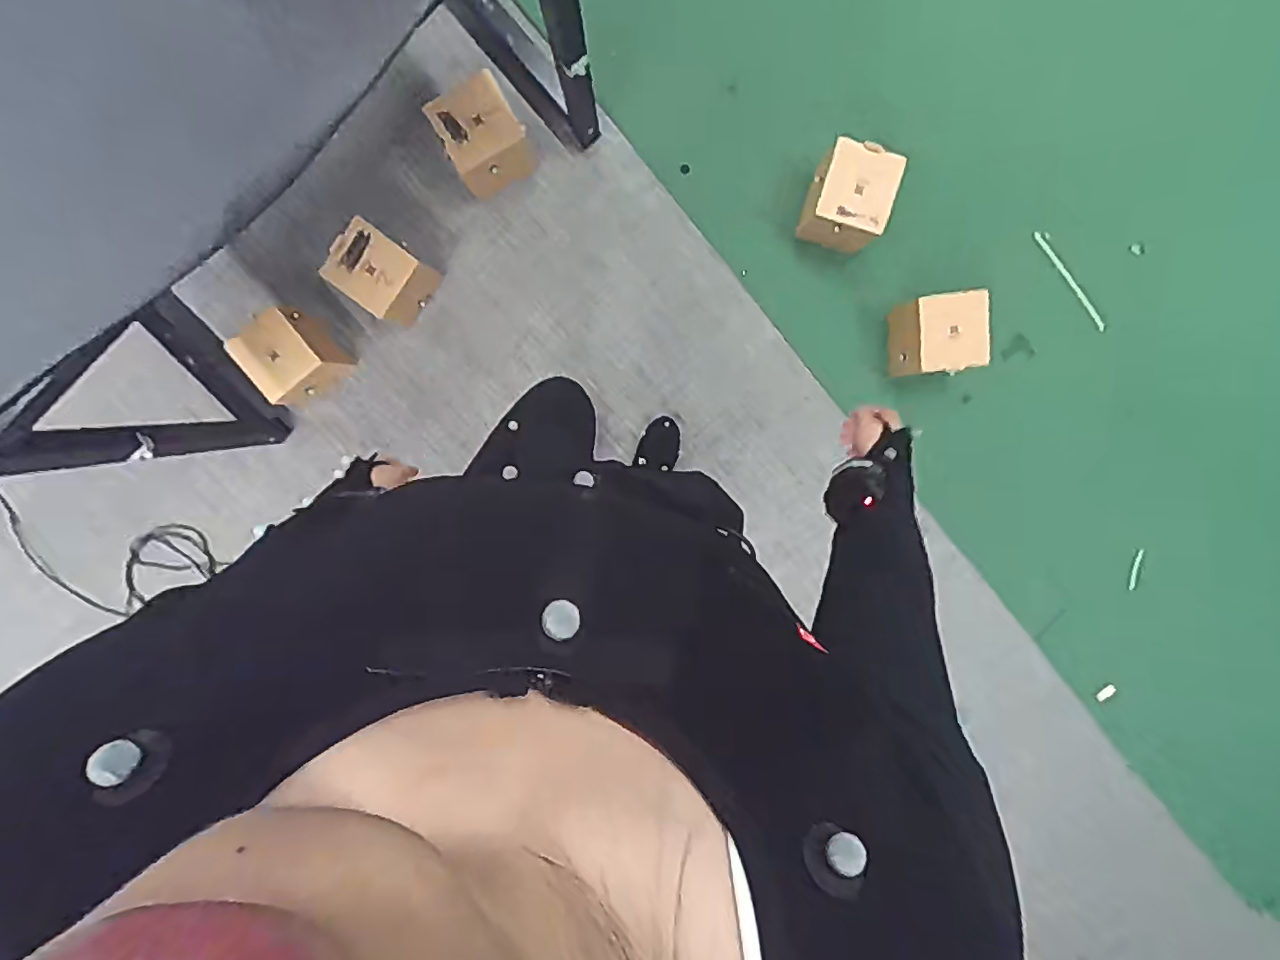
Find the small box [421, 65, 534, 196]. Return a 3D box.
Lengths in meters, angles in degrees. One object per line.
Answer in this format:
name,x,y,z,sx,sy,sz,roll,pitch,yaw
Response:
small box,-0.371,-0.807,1.270,0.179,0.176,0.168,-28,98,2

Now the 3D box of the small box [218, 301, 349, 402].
small box,-0.871,-0.313,1.344,0.168,0.176,0.179,-37,97,5

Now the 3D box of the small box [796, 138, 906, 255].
small box,0.496,-0.669,1.298,0.168,0.176,0.179,17,97,-3

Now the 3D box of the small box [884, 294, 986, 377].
small box,0.727,-0.351,1.347,0.168,0.176,0.179,-6,98,-1
